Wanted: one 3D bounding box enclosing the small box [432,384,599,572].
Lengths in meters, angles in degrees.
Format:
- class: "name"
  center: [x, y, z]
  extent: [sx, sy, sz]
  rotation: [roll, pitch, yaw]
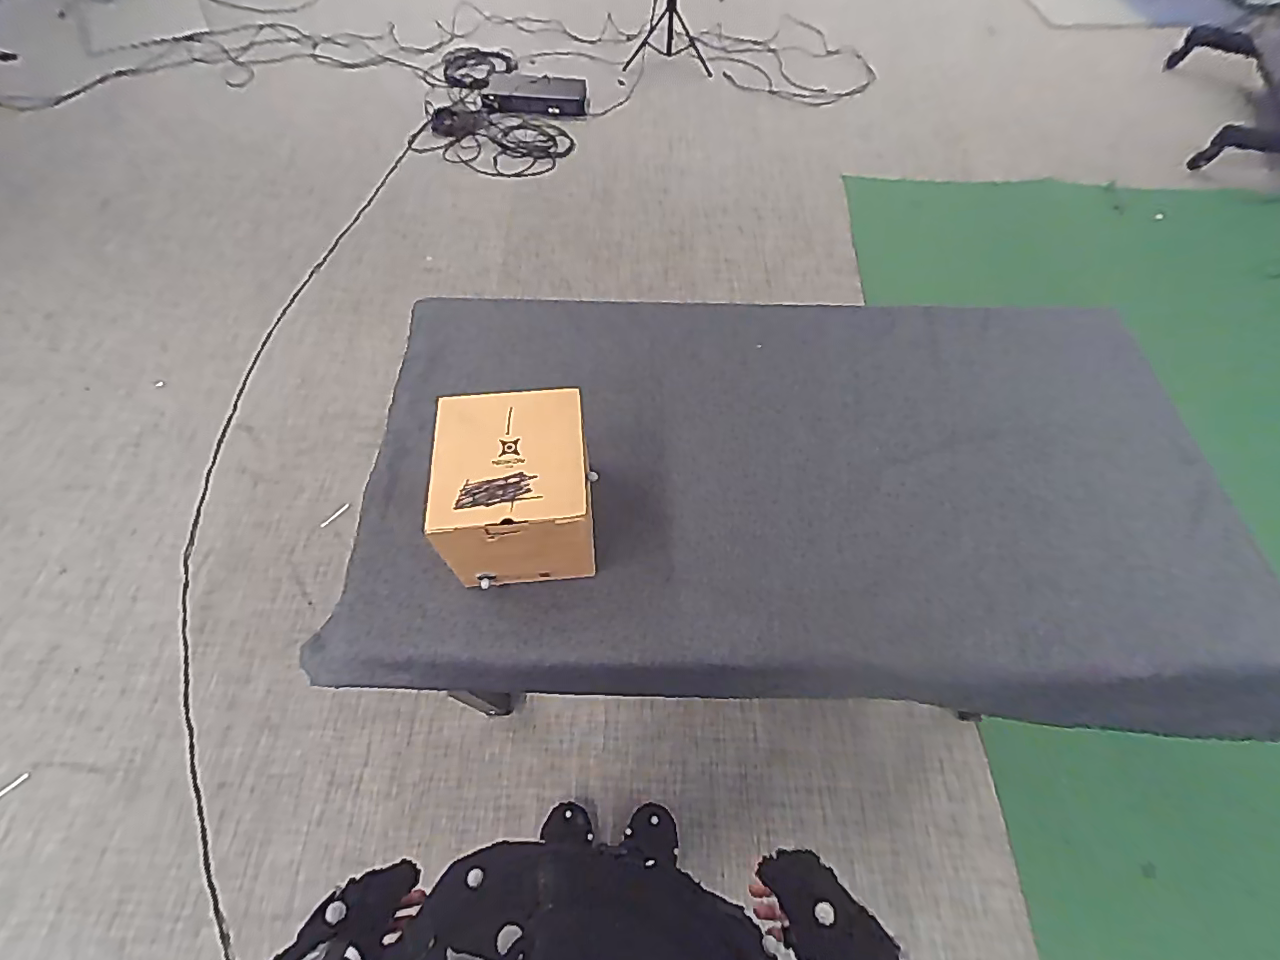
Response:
- class: "small box"
  center: [-0.140, 0.006, 0.667]
  extent: [0.168, 0.176, 0.179]
  rotation: [-5, 59, -3]
